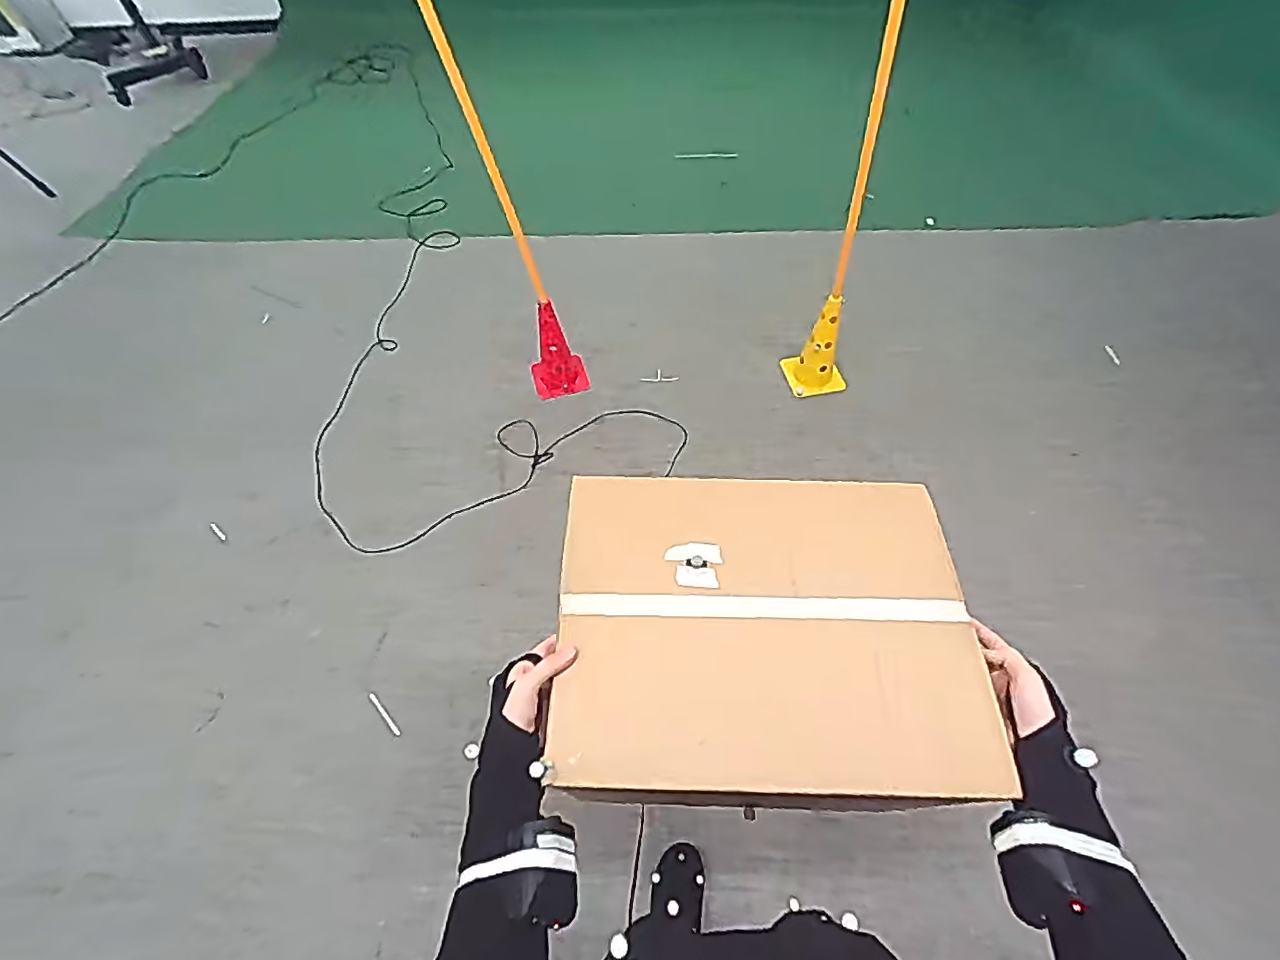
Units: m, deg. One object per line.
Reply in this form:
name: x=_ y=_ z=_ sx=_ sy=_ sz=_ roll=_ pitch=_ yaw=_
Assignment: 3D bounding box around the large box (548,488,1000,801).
large box: x=0.122 y=0.219 z=0.675 sx=0.408 sy=0.320 sz=0.320 roll=0 pitch=56 yaw=1
